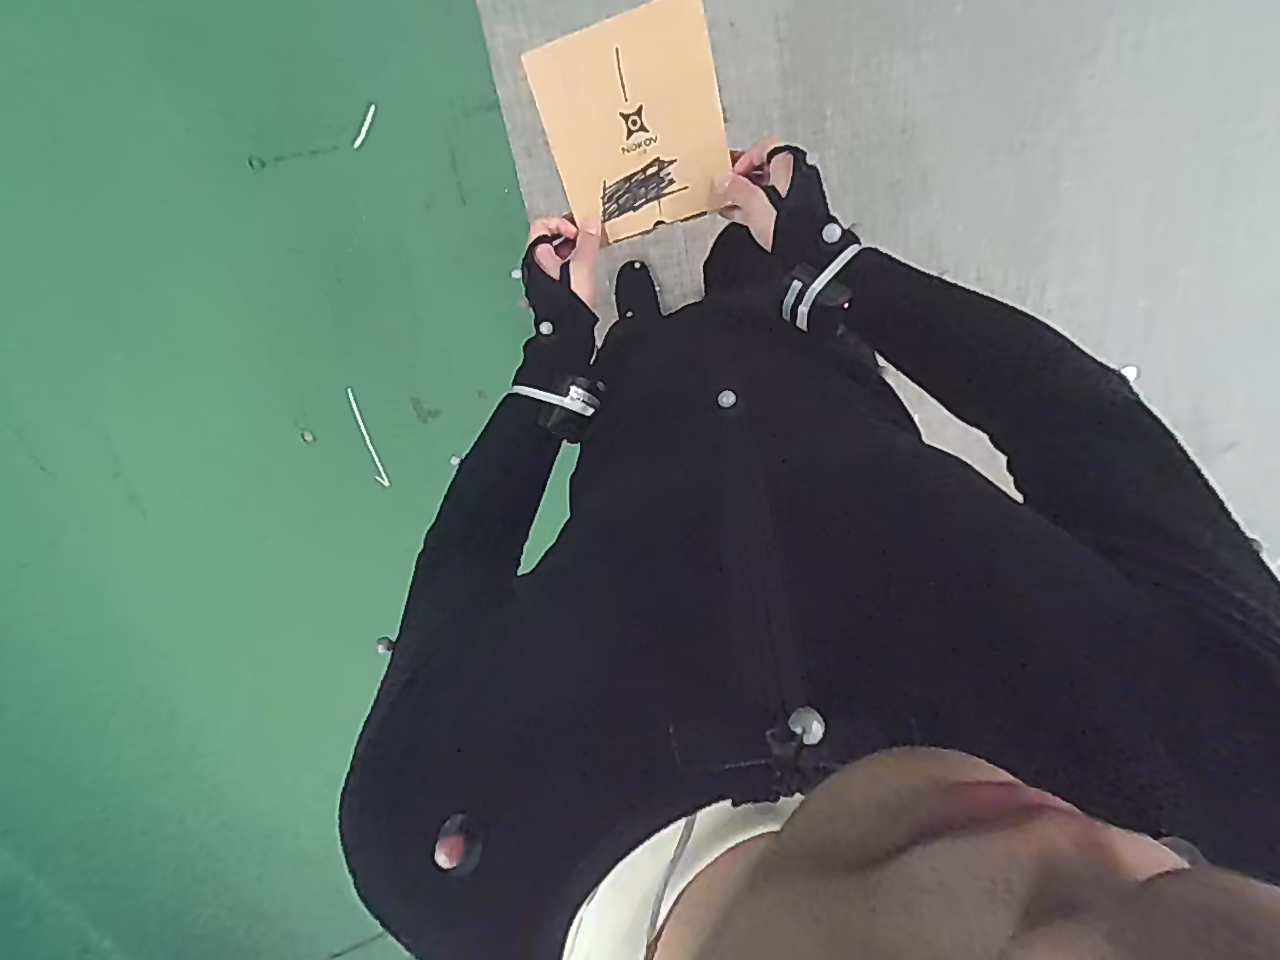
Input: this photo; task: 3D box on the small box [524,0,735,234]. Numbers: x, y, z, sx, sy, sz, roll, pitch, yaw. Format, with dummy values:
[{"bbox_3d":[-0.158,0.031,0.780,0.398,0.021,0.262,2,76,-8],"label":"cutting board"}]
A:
[{"bbox_3d":[0.000,-0.384,0.568,0.168,0.176,0.179,-12,122,9],"label":"small box"}]
